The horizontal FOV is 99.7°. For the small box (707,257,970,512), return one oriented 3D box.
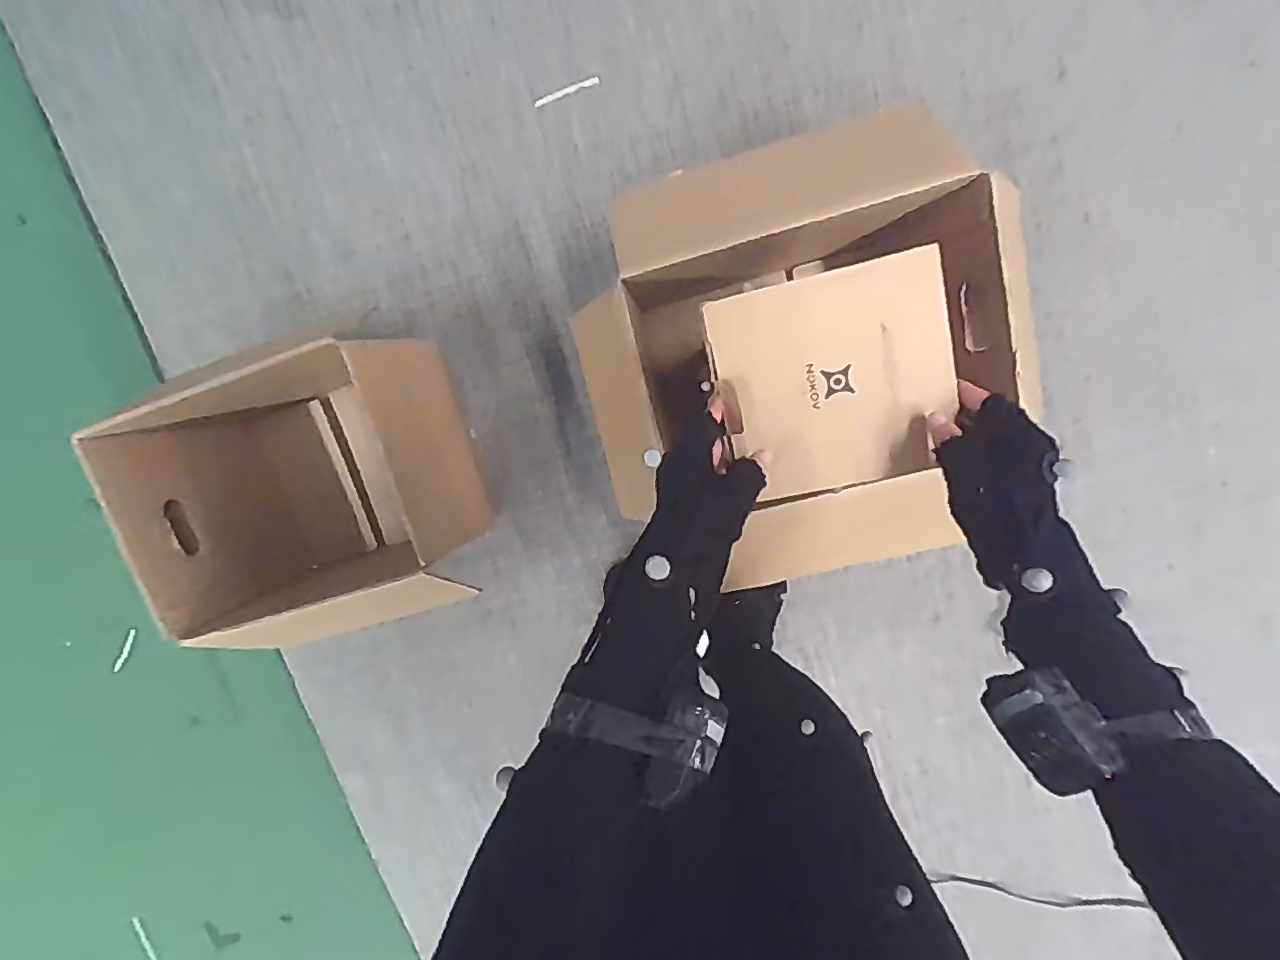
[{"bbox_3d":[0.164,-0.083,0.498,0.179,0.176,0.168,-13,100,9],"label":"small box"}]
